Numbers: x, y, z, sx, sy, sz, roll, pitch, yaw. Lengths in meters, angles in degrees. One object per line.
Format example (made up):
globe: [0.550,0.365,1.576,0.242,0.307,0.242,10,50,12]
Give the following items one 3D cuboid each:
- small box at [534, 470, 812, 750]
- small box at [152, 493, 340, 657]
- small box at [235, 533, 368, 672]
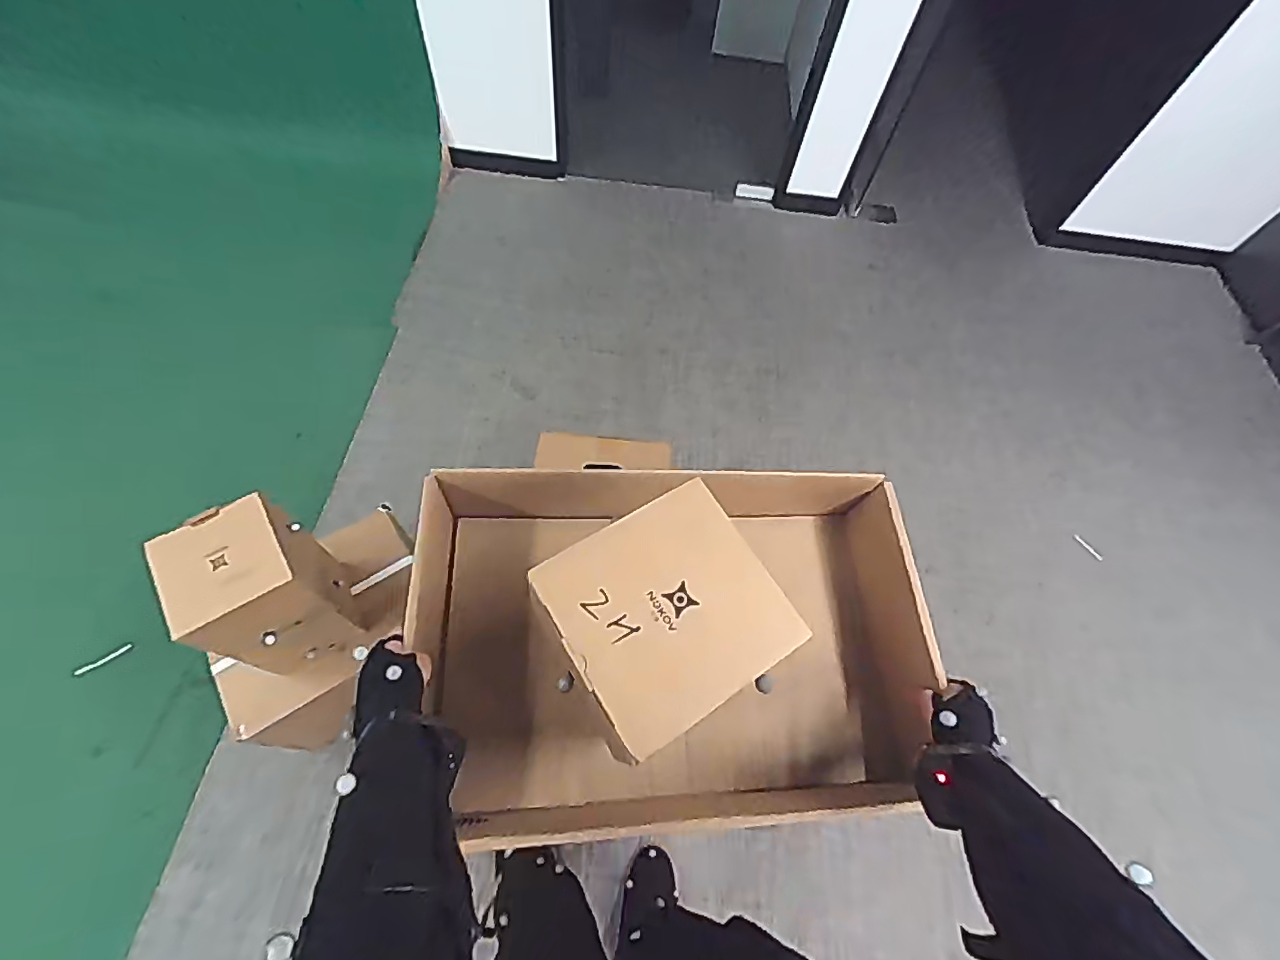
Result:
small box: [0.017,0.124,0.505,0.179,0.176,0.168,-28,70,-19]
small box: [-0.625,0.158,0.875,0.168,0.176,0.179,-30,68,-18]
small box: [-0.645,0.235,1.018,0.168,0.176,0.179,-27,67,-18]
